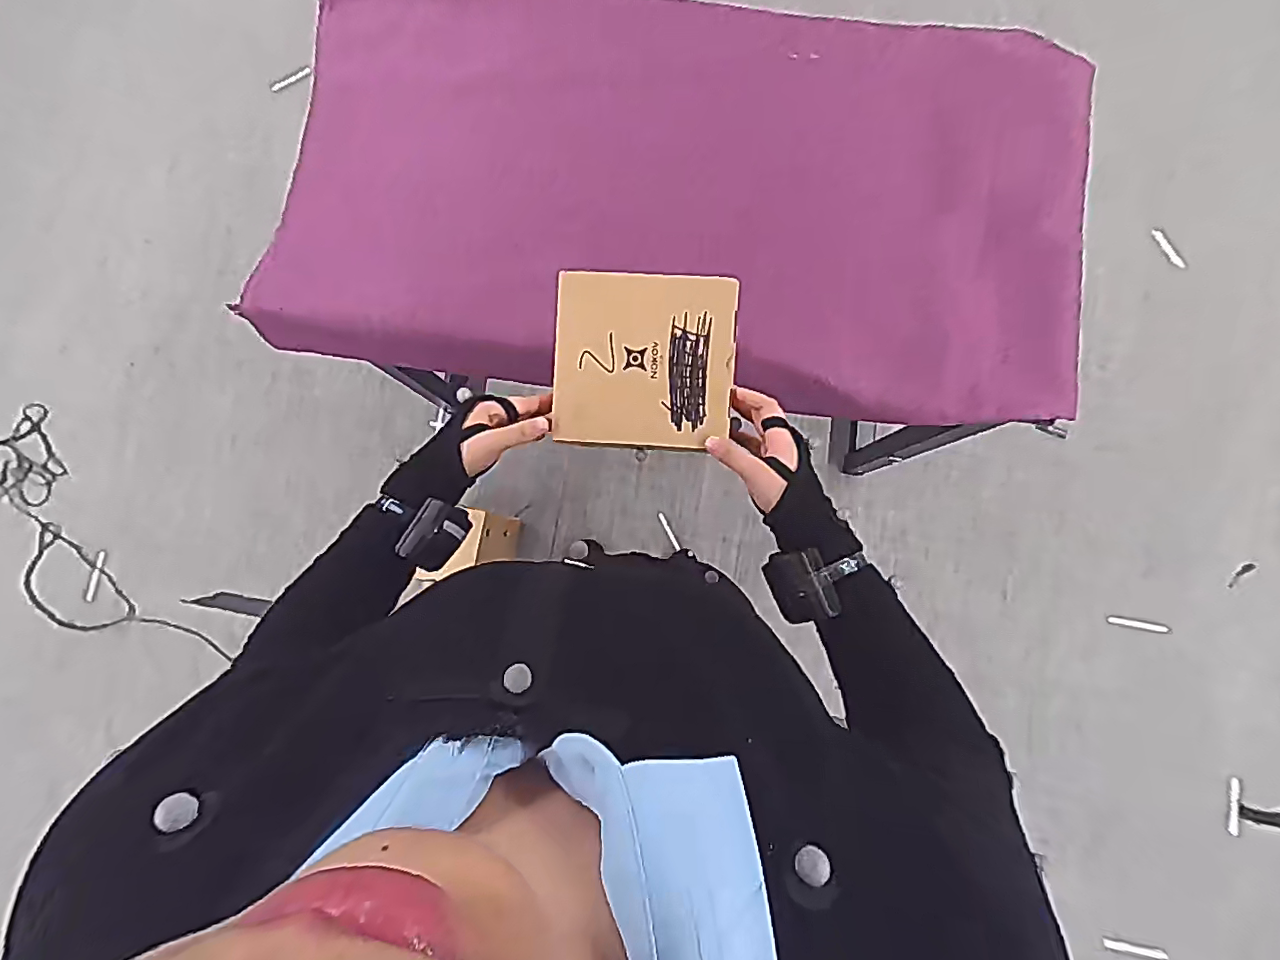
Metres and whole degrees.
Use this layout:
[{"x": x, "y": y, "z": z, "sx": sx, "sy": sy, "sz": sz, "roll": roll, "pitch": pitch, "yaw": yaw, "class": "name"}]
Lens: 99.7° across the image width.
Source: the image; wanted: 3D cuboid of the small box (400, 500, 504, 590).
[{"x": -0.431, "y": 0.153, "z": 1.272, "sx": 0.168, "sy": 0.176, "sz": 0.179, "roll": 10, "pitch": 83, "yaw": 3, "class": "small box"}]

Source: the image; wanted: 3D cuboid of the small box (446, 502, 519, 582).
[{"x": -0.435, "y": 0.170, "z": 1.436, "sx": 0.168, "sy": 0.176, "sz": 0.179, "roll": 15, "pitch": 83, "yaw": 3, "class": "small box"}]
